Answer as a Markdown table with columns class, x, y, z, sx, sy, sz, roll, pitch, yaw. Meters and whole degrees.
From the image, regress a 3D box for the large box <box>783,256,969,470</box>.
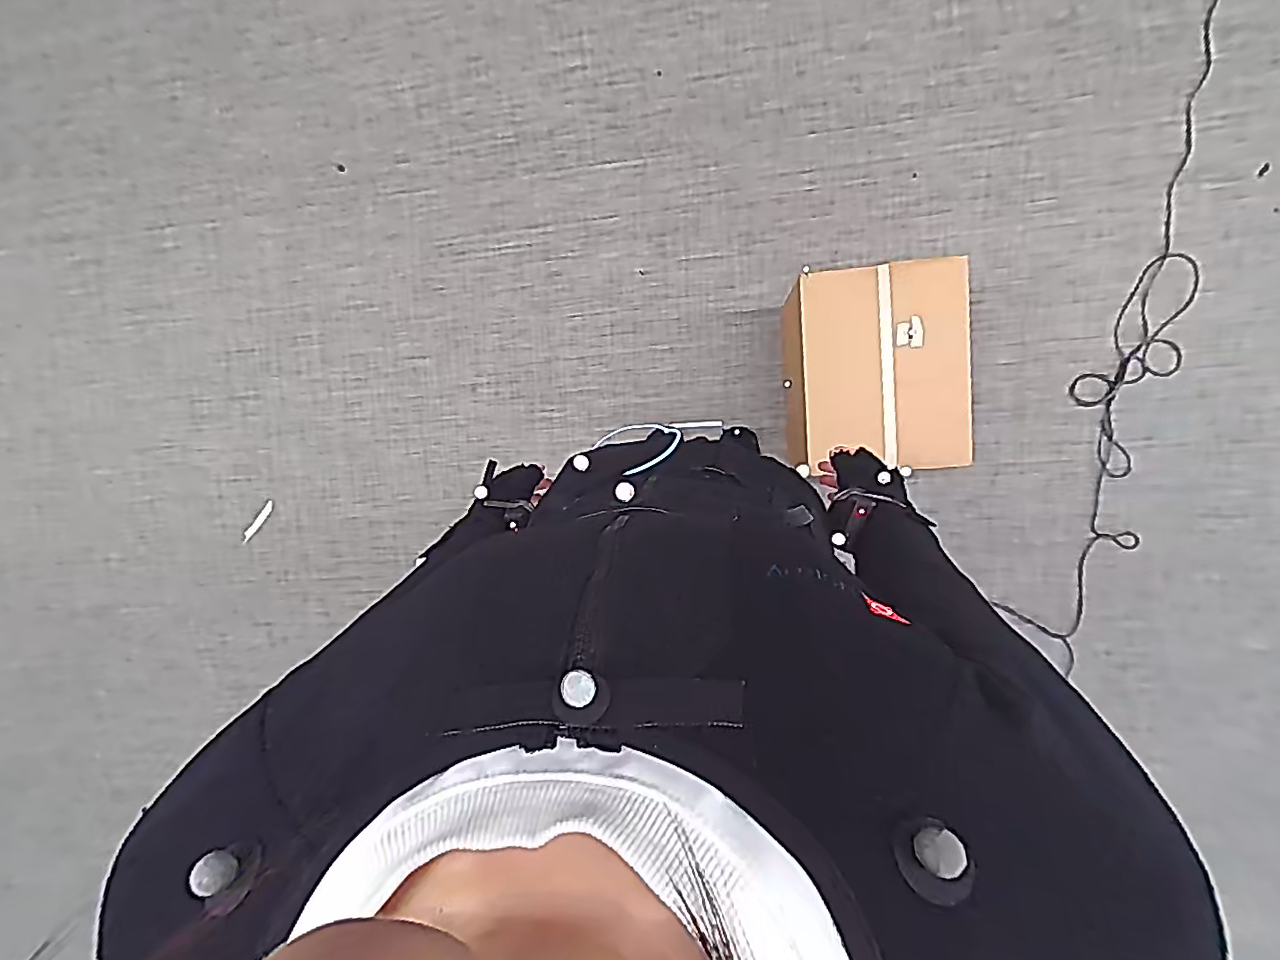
| class | x | y | z | sx | sy | sz | roll | pitch | yaw |
| --- | --- | --- | --- | --- | --- | --- | --- | --- | --- |
| large box | 0.508 | -0.239 | 1.228 | 0.320 | 0.320 | 0.408 | -4 | 94 | 7 |
